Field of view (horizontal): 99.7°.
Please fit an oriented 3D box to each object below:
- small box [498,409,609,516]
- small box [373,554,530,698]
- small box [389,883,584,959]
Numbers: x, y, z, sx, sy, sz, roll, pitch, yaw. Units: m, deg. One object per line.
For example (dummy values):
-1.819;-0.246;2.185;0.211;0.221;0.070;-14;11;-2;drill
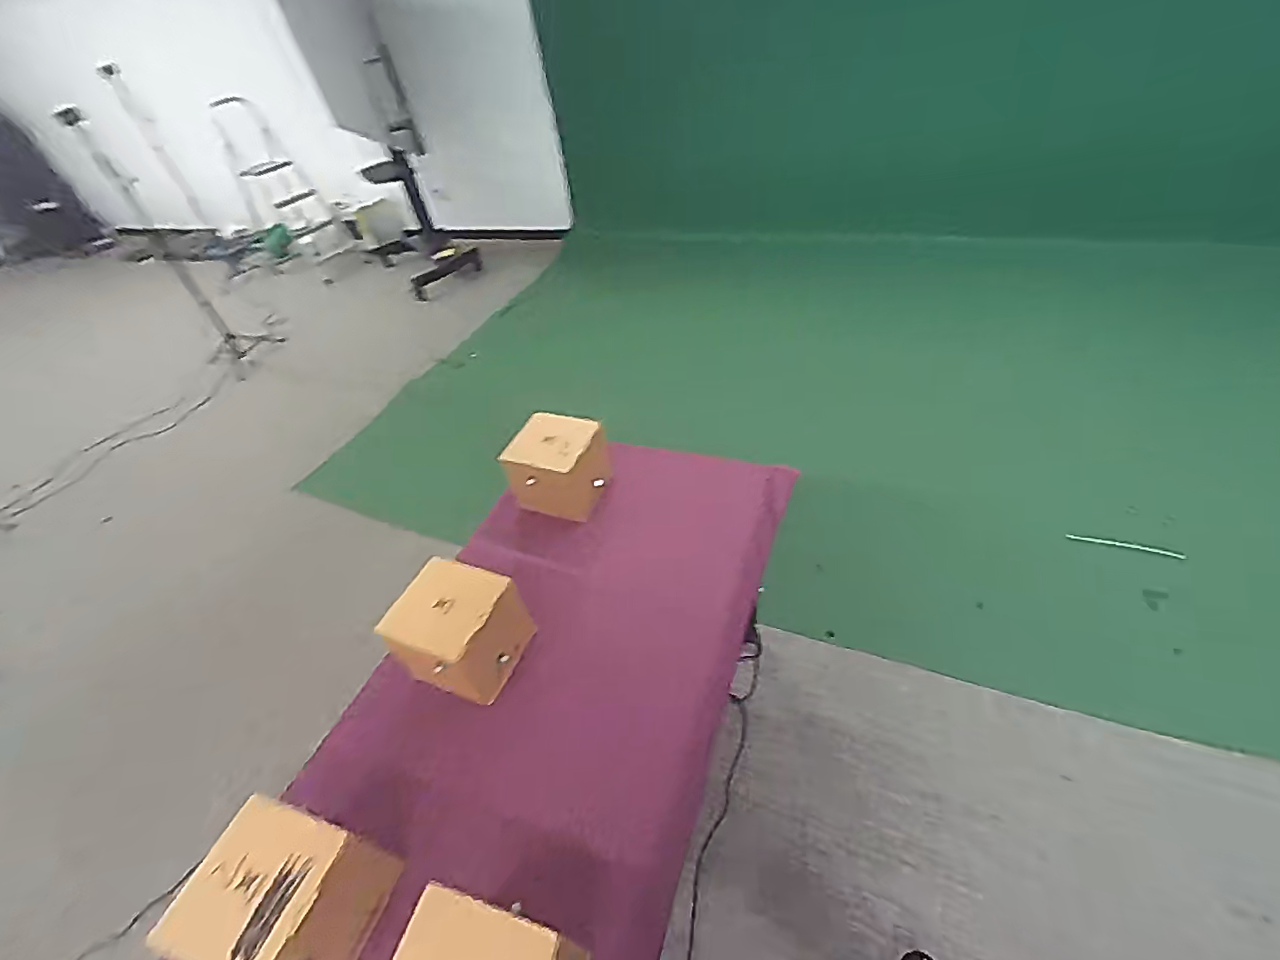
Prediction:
-0.190;-0.039;1.244;0.179;0.176;0.168;12;51;21;small box
-0.327;0.263;0.971;0.179;0.176;0.168;12;48;20;small box
-0.180;0.590;0.606;0.179;0.176;0.168;6;46;19;small box
